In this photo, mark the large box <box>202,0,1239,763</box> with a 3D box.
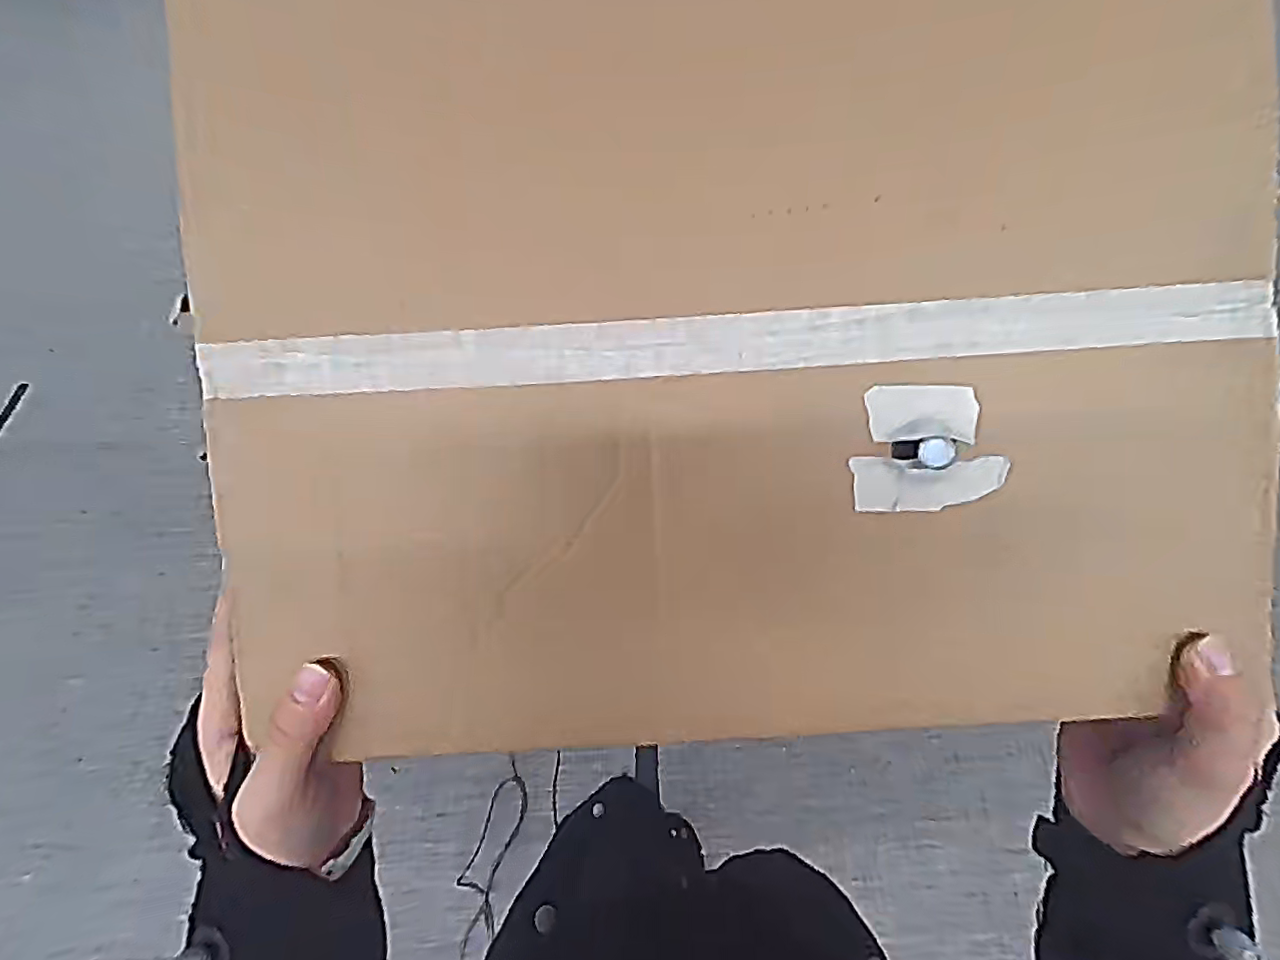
[{"bbox_3d":[0.035,-0.058,0.365,0.408,0.320,0.320,-4,94,-1],"label":"large box"}]
